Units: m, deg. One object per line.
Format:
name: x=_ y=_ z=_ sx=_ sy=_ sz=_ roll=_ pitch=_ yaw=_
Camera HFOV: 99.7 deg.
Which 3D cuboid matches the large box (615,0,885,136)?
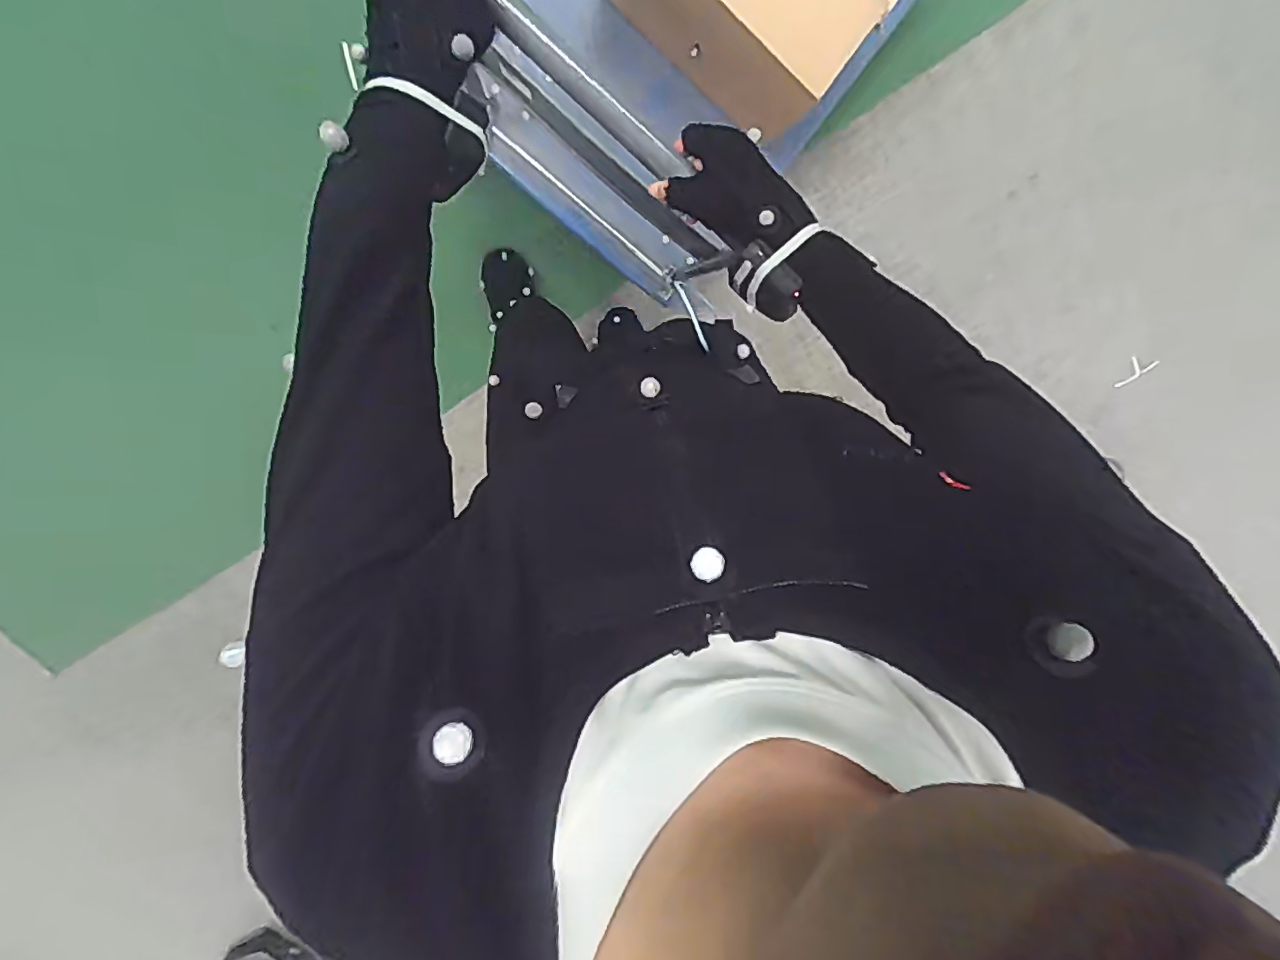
large box: x=0.193 y=-0.857 z=0.870 sx=0.408 sy=0.320 sz=0.320 roll=34 pitch=104 yaw=-14
